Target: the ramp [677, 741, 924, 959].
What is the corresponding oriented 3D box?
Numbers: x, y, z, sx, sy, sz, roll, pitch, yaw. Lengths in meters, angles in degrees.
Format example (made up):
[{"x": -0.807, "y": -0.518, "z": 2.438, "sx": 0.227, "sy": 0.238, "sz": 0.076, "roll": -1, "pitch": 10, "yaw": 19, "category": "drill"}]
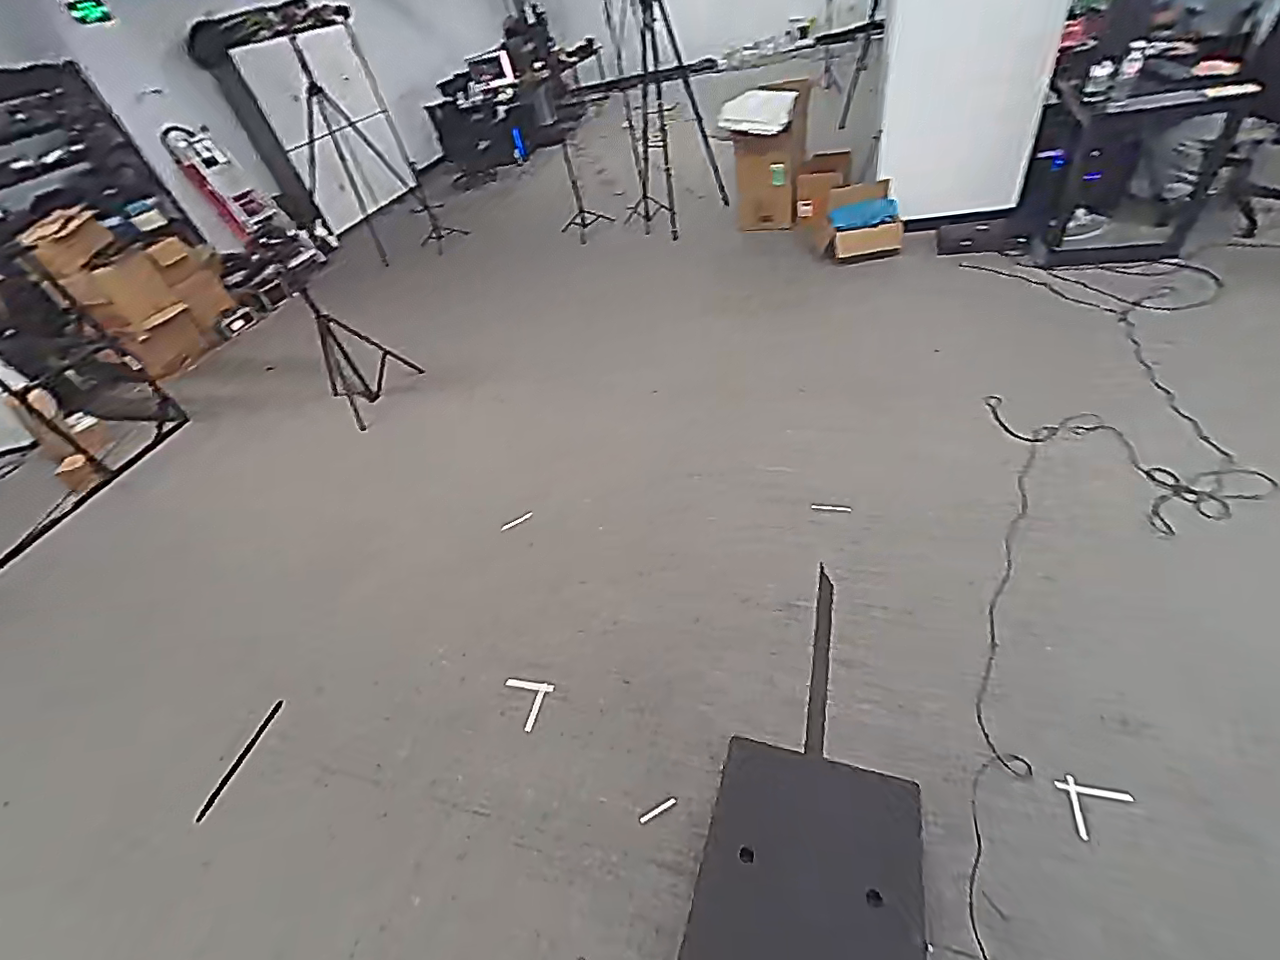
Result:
[{"x": 0.313, "y": 1.048, "z": 1.102, "sx": 0.509, "sy": 0.206, "sz": 0.991, "roll": 3, "pitch": 45, "yaw": 21, "category": "ramp"}]
